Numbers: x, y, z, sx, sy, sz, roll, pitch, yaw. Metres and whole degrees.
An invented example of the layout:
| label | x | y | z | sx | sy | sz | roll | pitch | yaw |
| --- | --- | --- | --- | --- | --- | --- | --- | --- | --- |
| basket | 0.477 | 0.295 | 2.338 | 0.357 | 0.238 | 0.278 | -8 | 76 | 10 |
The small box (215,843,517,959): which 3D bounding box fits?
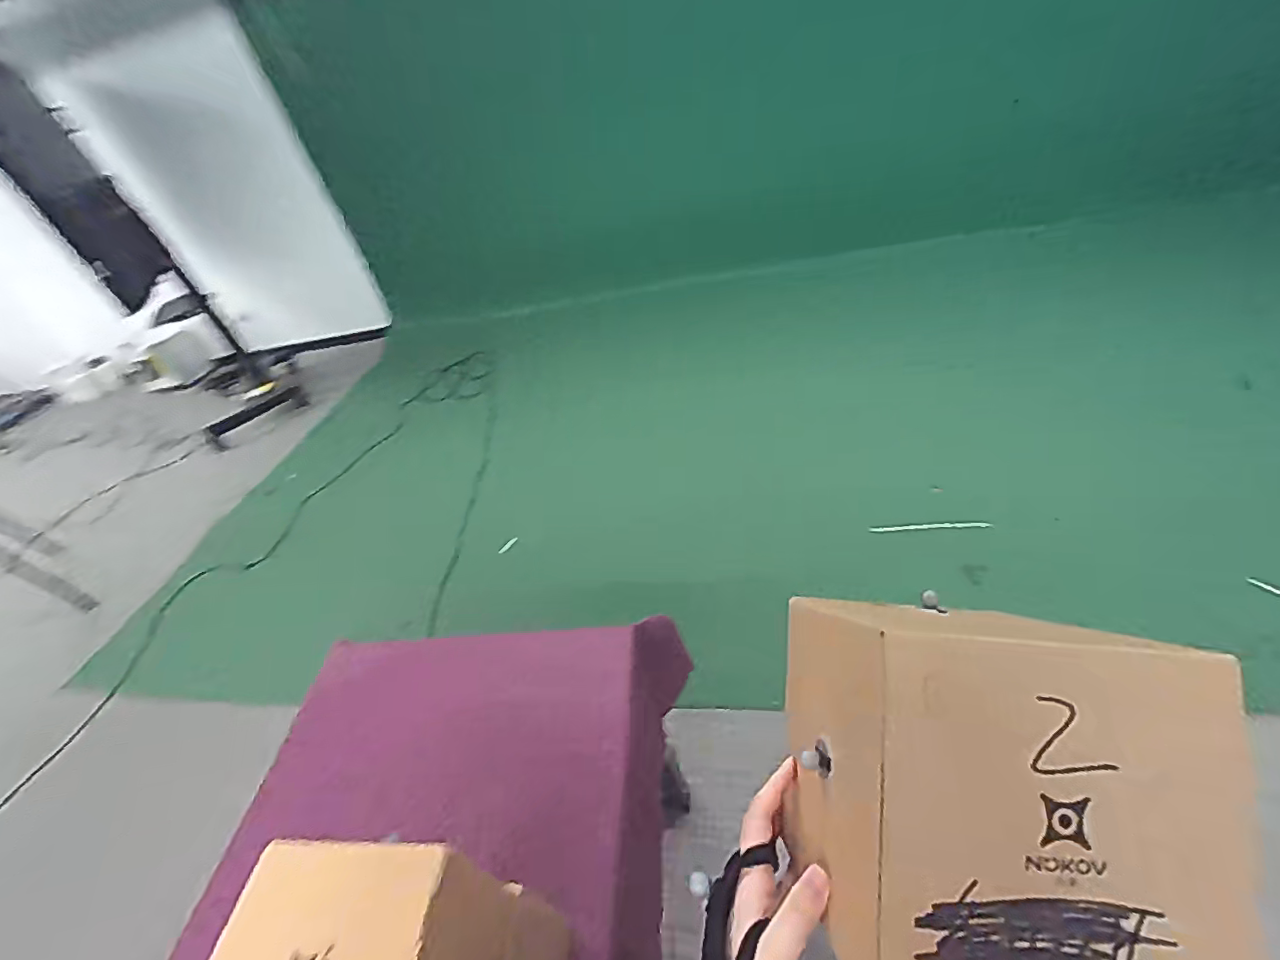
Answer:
| label | x | y | z | sx | sy | sz | roll | pitch | yaw |
| --- | --- | --- | --- | --- | --- | --- | --- | --- | --- |
| small box | -0.227 | 0.422 | 0.445 | 0.179 | 0.176 | 0.168 | -7 | 40 | 11 |
